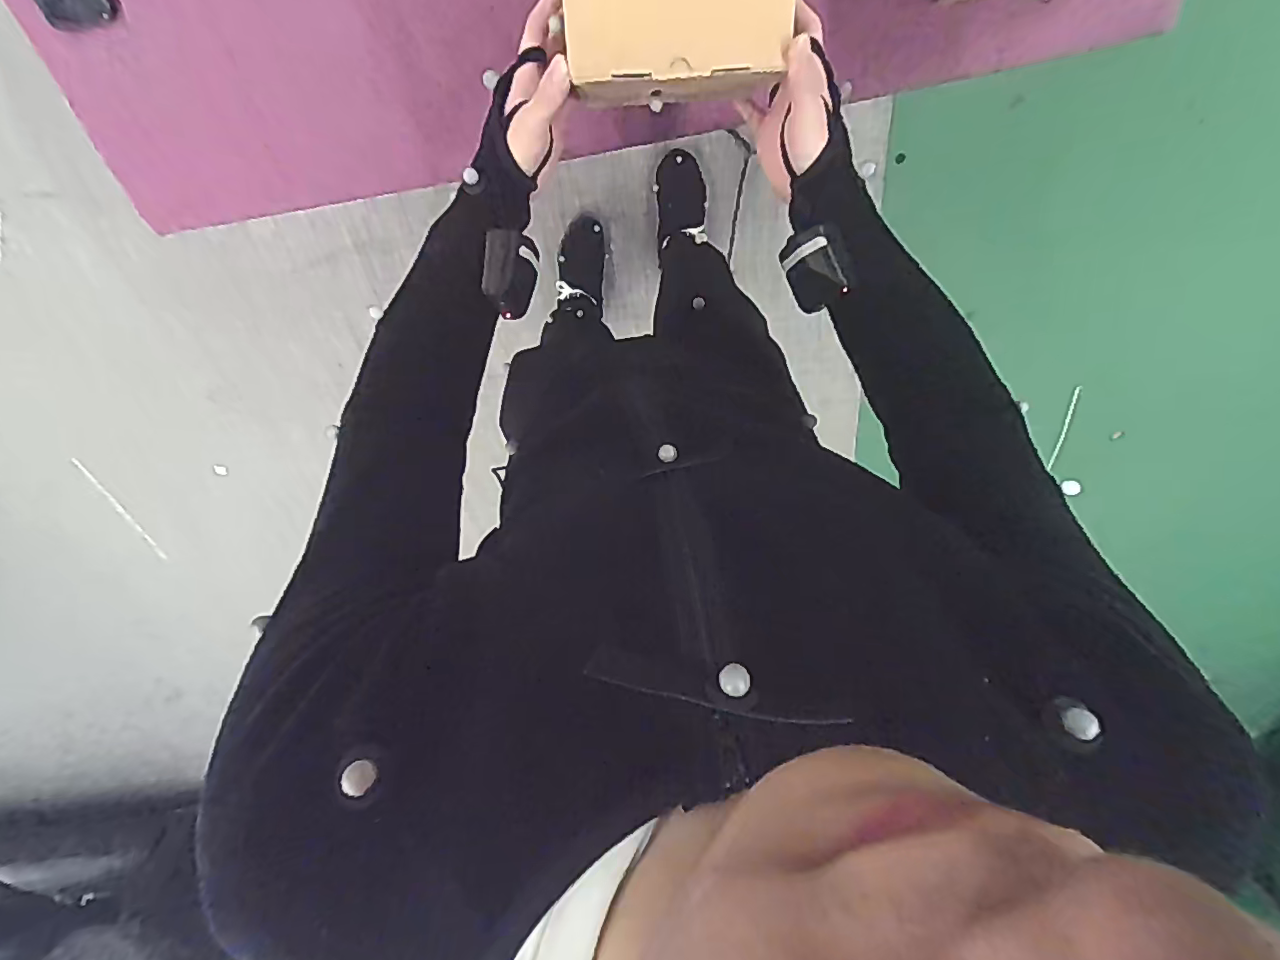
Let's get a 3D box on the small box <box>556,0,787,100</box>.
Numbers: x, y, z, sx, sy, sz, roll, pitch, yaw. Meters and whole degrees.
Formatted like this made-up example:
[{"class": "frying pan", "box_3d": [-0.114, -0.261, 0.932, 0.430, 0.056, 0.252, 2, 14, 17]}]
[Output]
[{"class": "small box", "box_3d": [0.017, -0.416, 0.423, 0.168, 0.176, 0.179, -4, 121, 1]}]
